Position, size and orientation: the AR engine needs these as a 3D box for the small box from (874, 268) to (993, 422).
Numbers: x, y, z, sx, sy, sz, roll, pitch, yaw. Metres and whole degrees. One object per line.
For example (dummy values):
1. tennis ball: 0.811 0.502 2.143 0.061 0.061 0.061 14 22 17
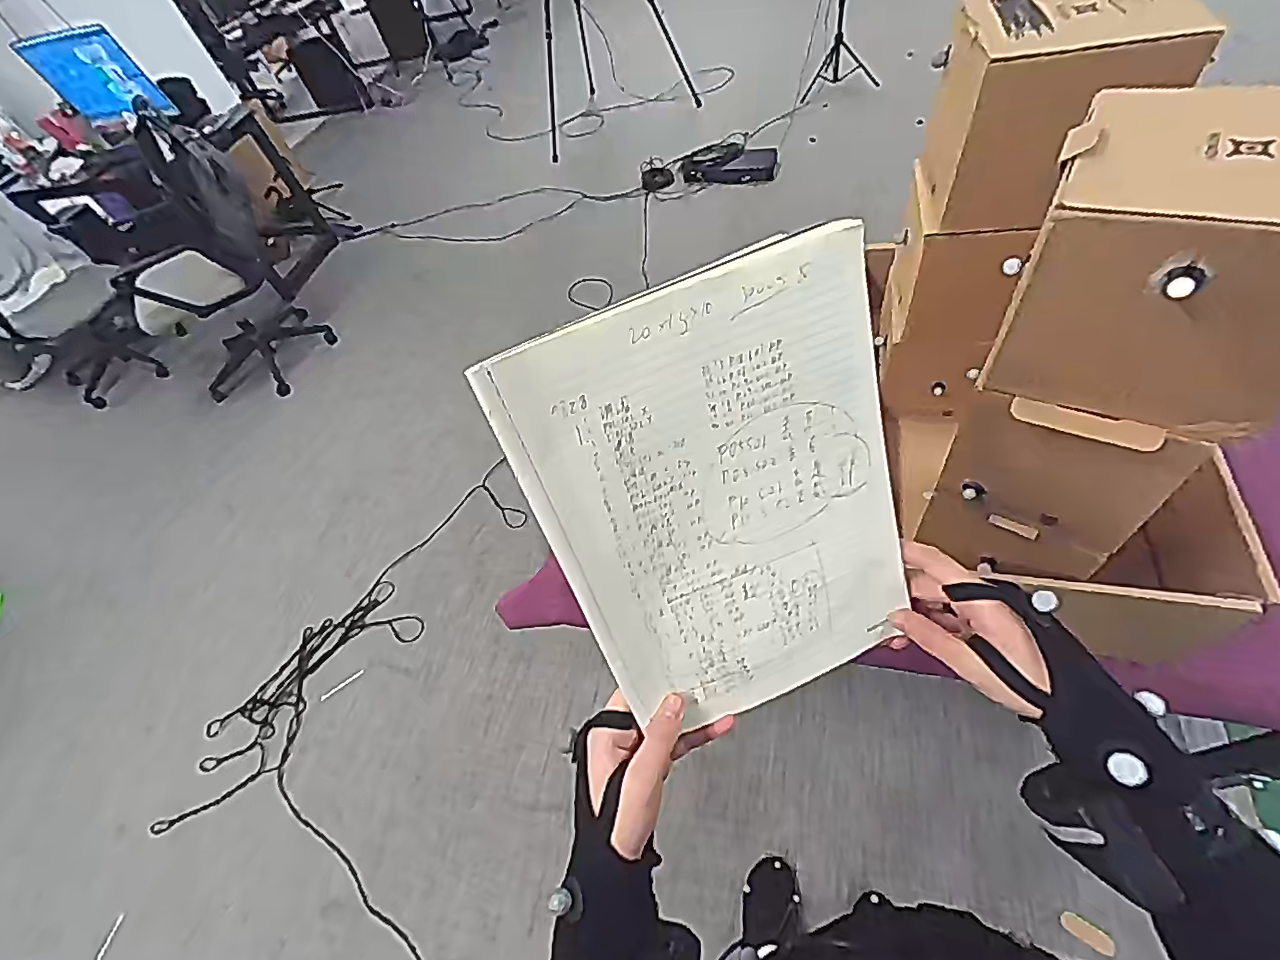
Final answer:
1. small box: 0.463 -0.205 0.834 0.168 0.176 0.179 5 58 17

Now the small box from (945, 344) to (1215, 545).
1. small box: 0.423 -0.066 0.532 0.168 0.176 0.179 24 62 29

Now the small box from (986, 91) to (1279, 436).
1. small box: 0.390 -0.158 0.402 0.179 0.176 0.168 22 62 28

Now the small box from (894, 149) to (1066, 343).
1. small box: 0.435 -0.293 0.700 0.179 0.176 0.168 3 57 16
